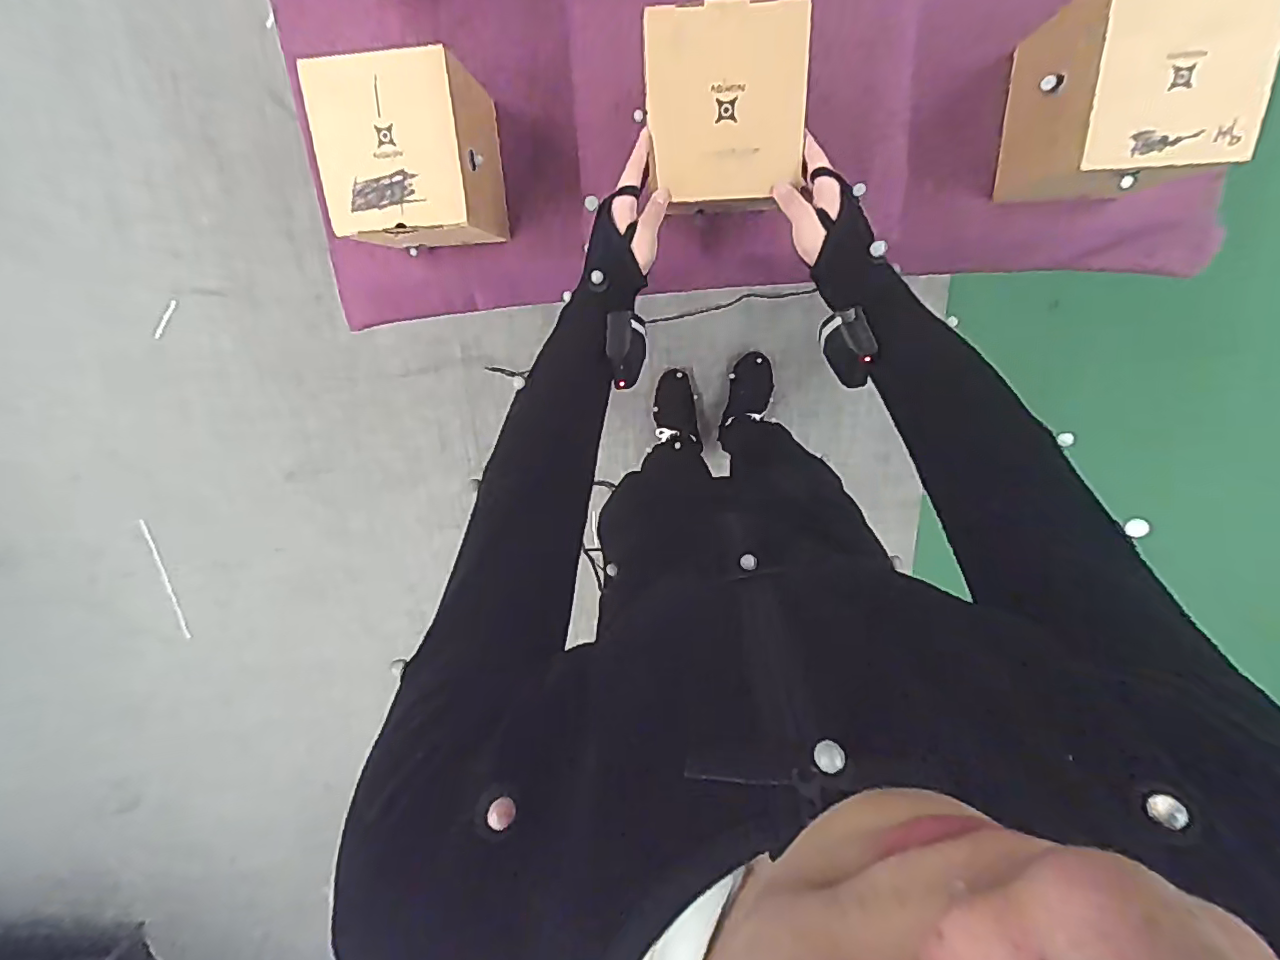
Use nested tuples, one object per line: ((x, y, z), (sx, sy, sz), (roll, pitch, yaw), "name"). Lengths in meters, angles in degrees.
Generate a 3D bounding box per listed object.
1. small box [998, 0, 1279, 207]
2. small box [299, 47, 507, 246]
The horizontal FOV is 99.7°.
((0.540, -0.423, 0.608), (0.168, 0.176, 0.179), (0, 106, 5), "small box")
((-0.274, -0.392, 0.671), (0.168, 0.176, 0.179), (-2, 107, 4), "small box")
